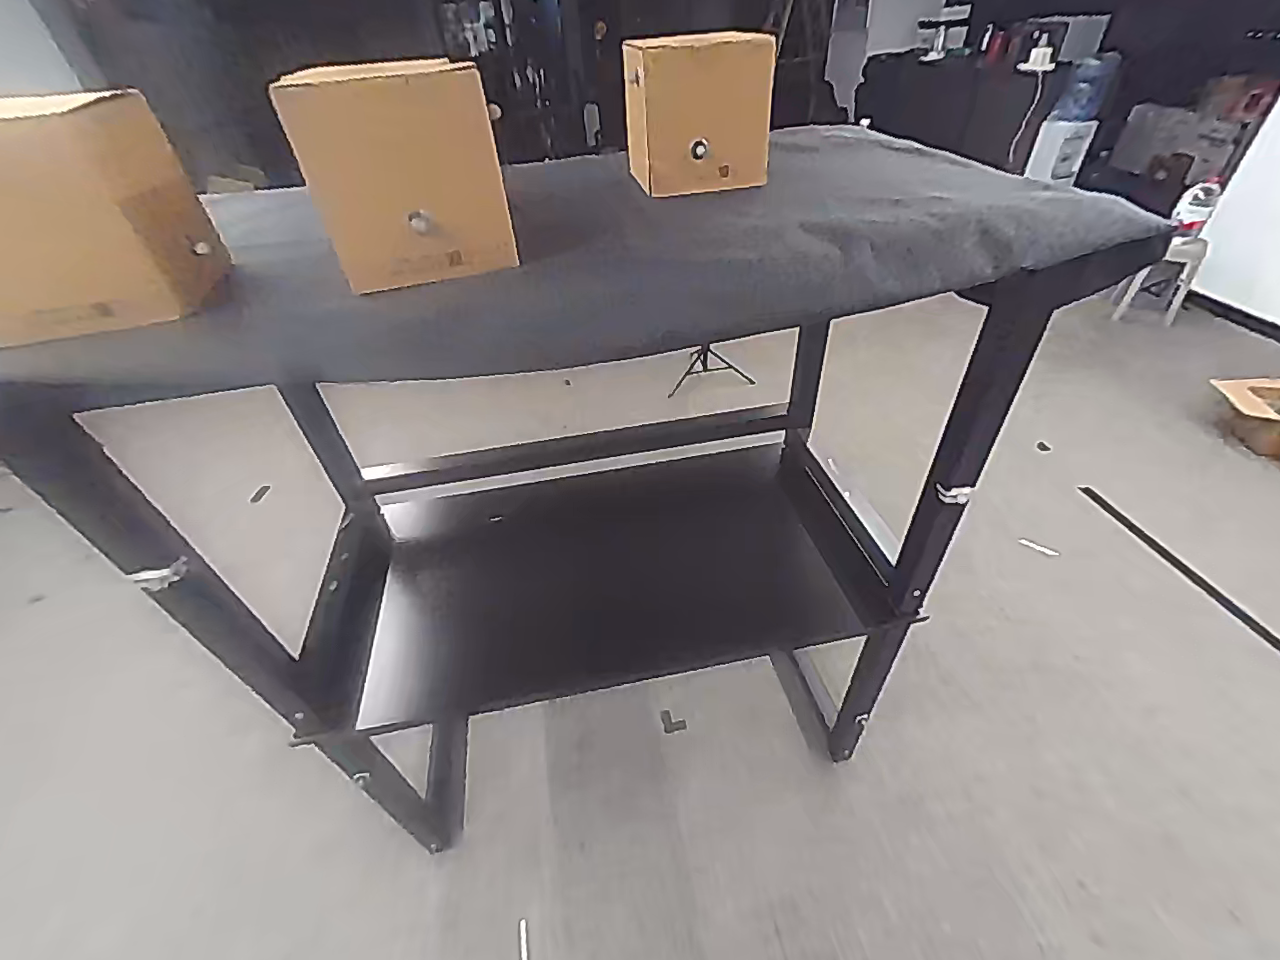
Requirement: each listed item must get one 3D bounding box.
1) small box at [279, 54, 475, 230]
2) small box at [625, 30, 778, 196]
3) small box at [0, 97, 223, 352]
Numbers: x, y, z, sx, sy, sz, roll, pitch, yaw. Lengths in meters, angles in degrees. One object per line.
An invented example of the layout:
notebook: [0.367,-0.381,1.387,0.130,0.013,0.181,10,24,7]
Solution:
small box: [-0.322,-0.438,0.709,0.168,0.176,0.179,-7,42,-4]
small box: [0.076,-0.511,0.753,0.168,0.176,0.179,-10,42,-5]
small box: [-0.533,-0.240,0.501,0.168,0.176,0.179,-14,42,-11]
